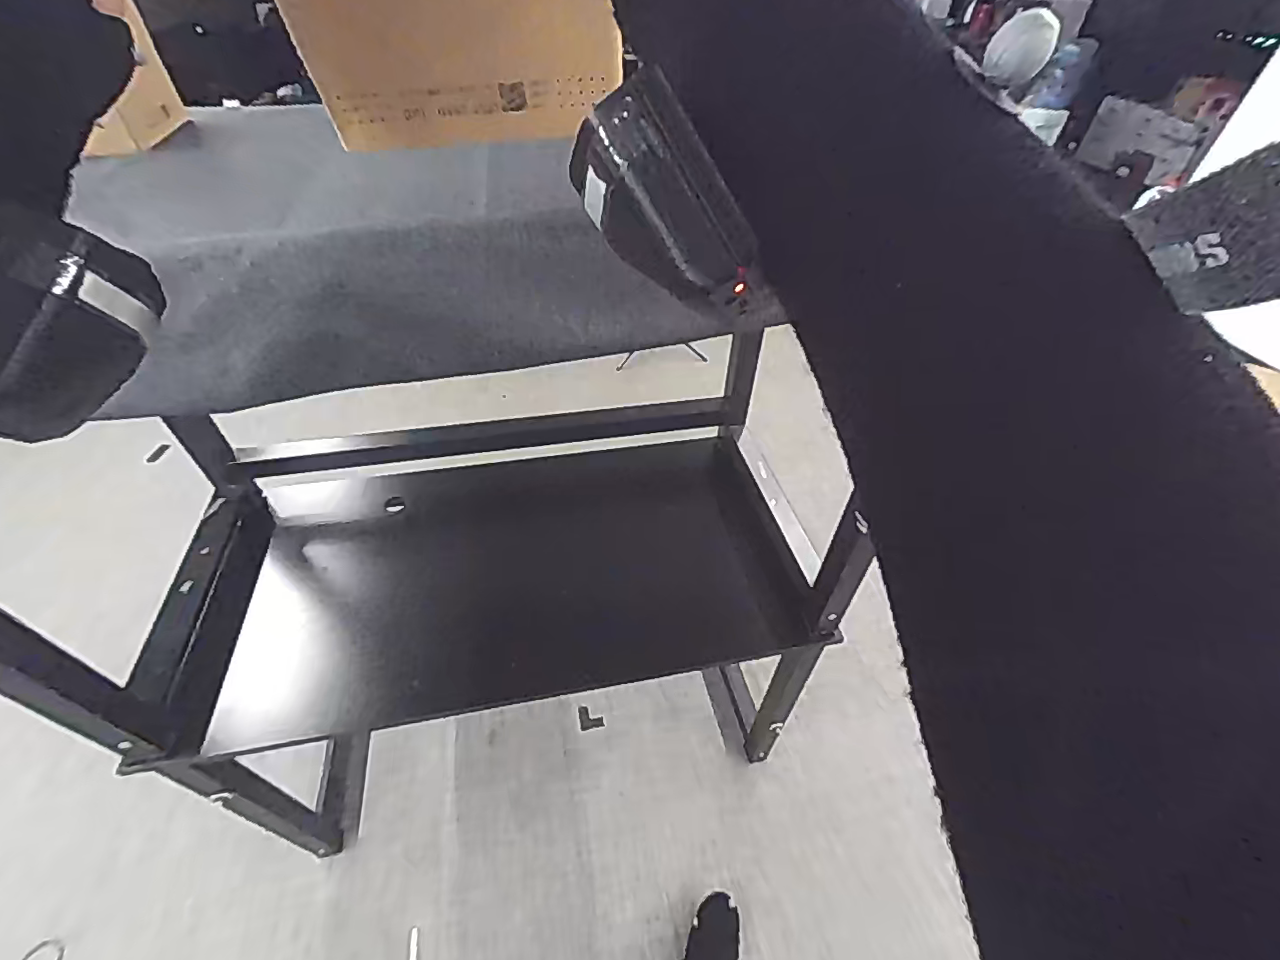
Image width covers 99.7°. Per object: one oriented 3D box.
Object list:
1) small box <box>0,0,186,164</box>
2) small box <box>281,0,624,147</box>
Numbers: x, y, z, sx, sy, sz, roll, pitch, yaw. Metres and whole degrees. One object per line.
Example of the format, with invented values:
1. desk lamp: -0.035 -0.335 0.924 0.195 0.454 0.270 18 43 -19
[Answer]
1. small box: -0.650 -0.458 0.586 0.179 0.176 0.168 -8 46 -11
2. small box: -0.100 -0.307 0.293 0.168 0.176 0.179 -6 60 -3
